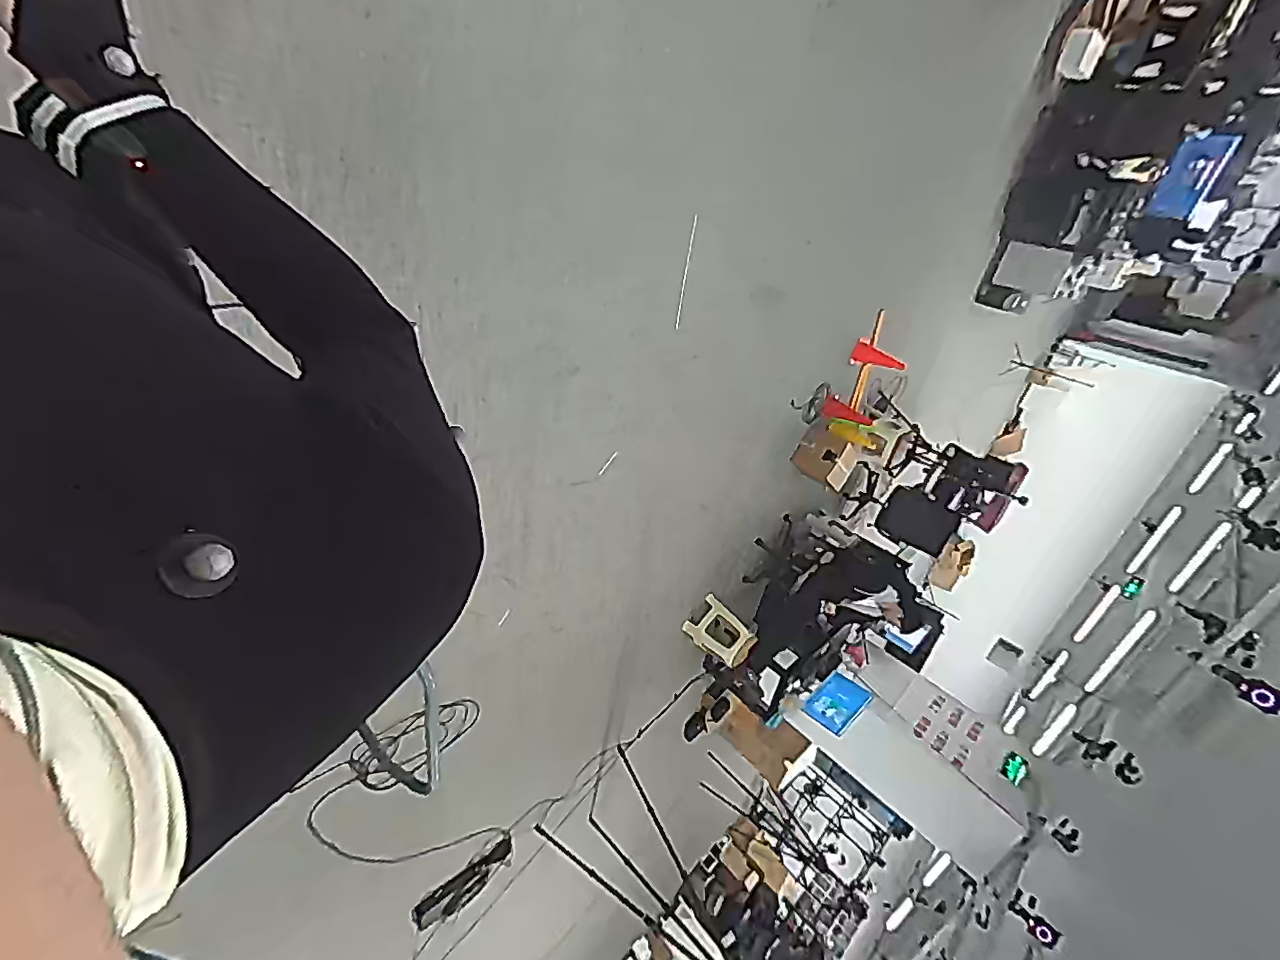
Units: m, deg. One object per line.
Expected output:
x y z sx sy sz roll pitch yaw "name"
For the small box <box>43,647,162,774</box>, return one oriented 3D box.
-1.252 0.529 1.262 0.168 0.176 0.179 -16 128 -45 "small box"
